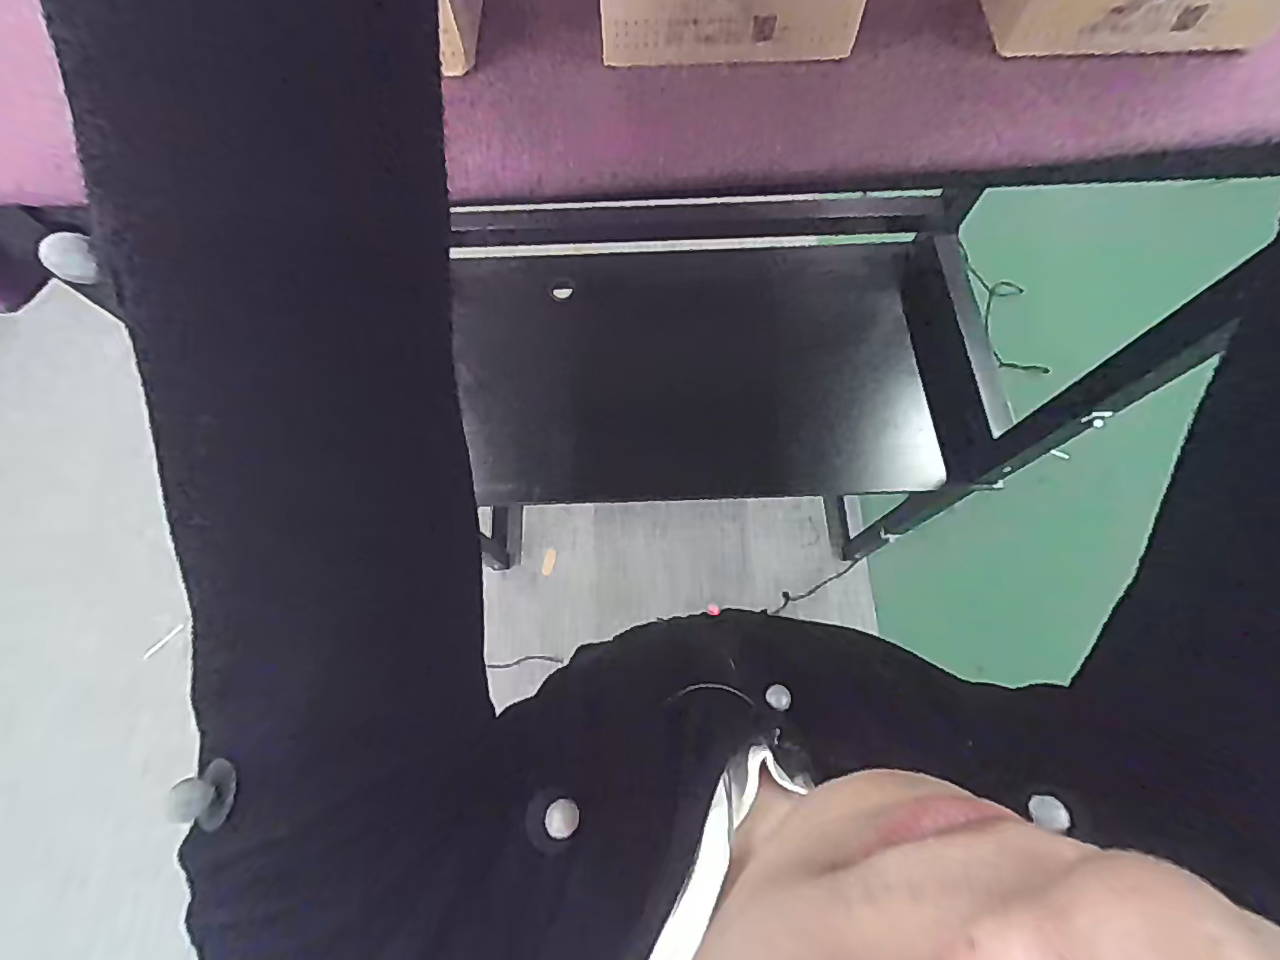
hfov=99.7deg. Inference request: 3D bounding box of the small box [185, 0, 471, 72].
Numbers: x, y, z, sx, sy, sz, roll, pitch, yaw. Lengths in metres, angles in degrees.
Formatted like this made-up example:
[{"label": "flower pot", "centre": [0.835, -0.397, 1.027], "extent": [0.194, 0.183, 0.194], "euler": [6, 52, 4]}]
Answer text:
[{"label": "small box", "centre": [-0.202, -0.380, 0.316], "extent": [0.168, 0.176, 0.179], "euler": [-2, 67, 1]}]
